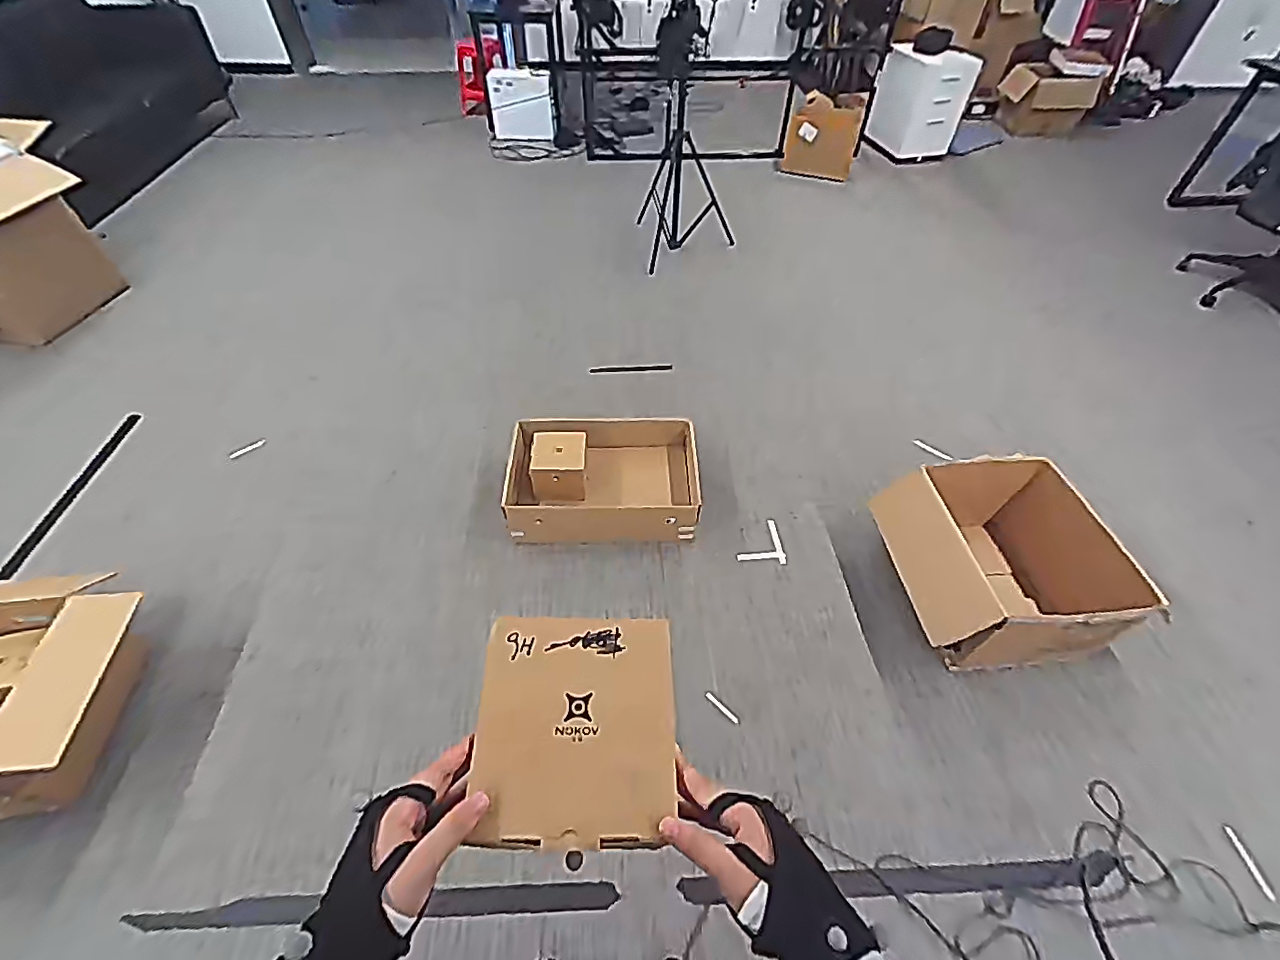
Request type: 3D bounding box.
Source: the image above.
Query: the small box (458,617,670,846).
[{"bbox_3d":[-0.060,0.244,0.520,0.168,0.176,0.179,1,55,-3],"label":"small box"}]

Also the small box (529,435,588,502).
[{"bbox_3d":[-0.270,-0.036,1.834,0.179,0.176,0.168,0,51,-3],"label":"small box"}]
